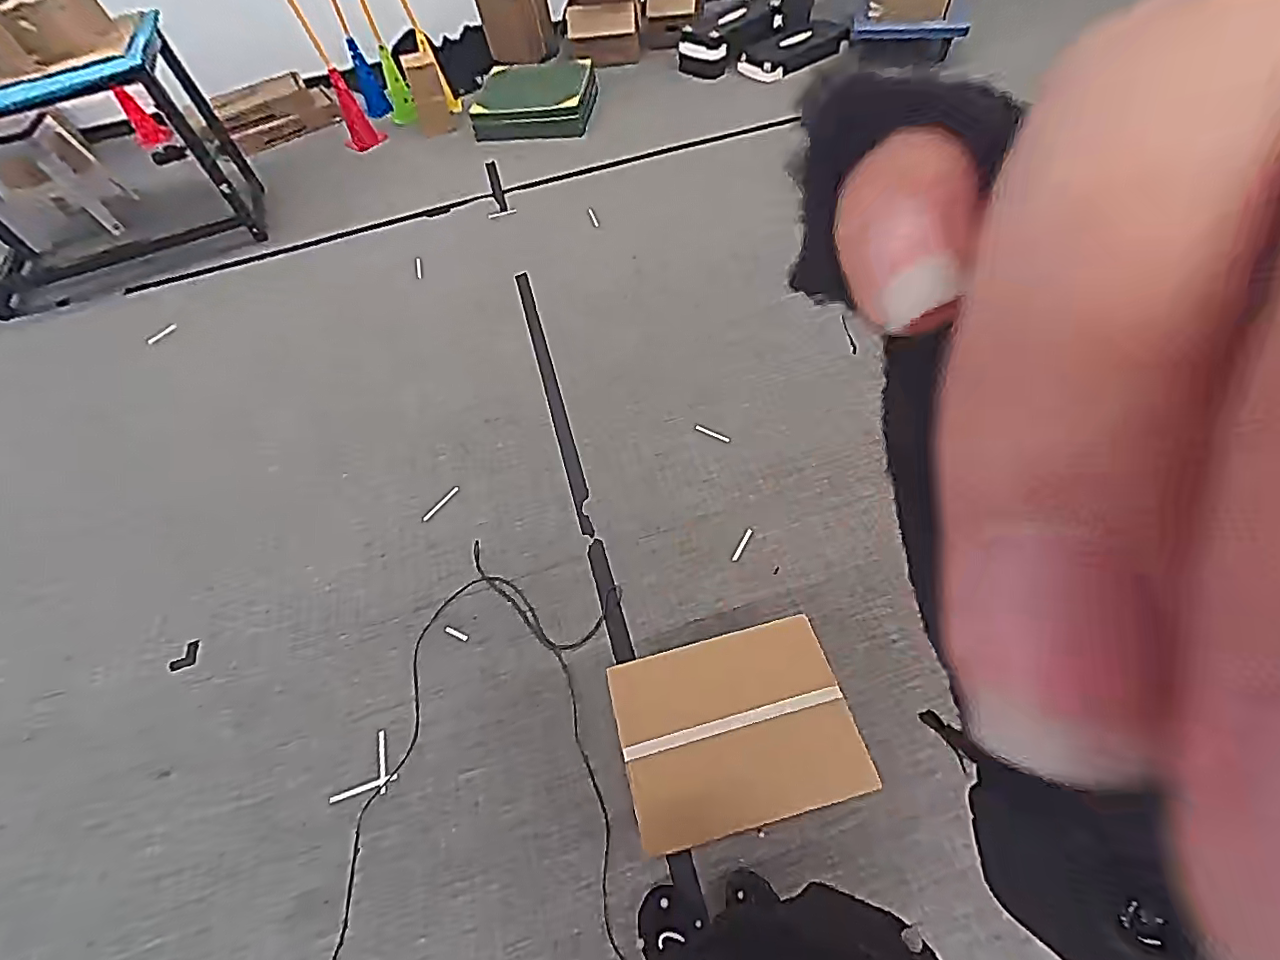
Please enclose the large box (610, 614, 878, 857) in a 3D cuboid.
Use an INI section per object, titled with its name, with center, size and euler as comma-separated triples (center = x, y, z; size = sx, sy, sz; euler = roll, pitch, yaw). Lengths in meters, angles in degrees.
[large box]
center = 0.182, 0.518, 1.084
size = 0.408, 0.320, 0.320
euler = -15, 56, -4
